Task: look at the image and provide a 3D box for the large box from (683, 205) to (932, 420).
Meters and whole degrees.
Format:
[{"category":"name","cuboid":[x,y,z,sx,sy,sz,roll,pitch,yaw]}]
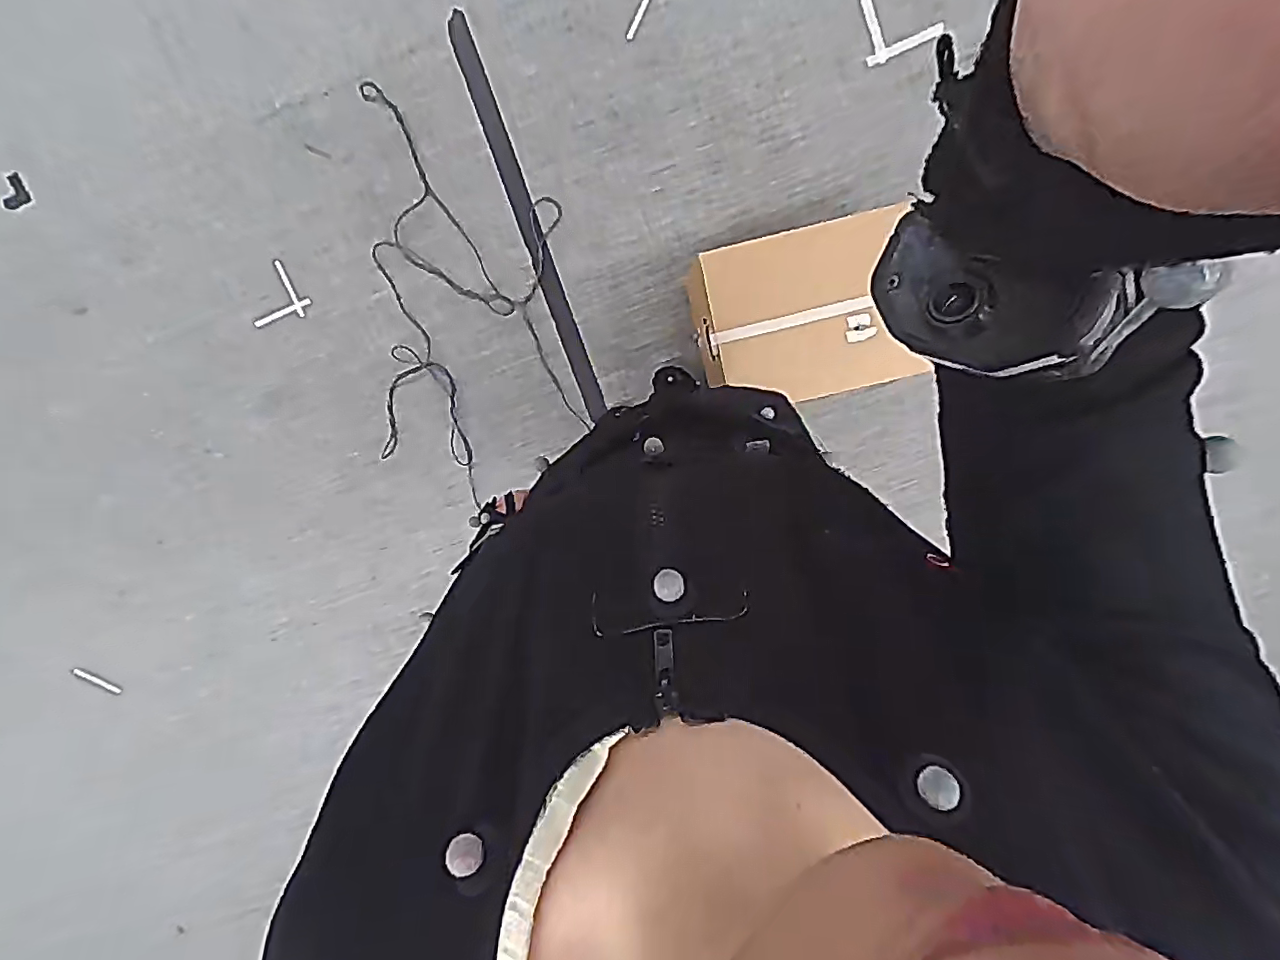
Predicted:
[{"category":"large box","cuboid":[0.331,-0.334,1.166,0.408,0.320,0.320,-14,101,2]}]
